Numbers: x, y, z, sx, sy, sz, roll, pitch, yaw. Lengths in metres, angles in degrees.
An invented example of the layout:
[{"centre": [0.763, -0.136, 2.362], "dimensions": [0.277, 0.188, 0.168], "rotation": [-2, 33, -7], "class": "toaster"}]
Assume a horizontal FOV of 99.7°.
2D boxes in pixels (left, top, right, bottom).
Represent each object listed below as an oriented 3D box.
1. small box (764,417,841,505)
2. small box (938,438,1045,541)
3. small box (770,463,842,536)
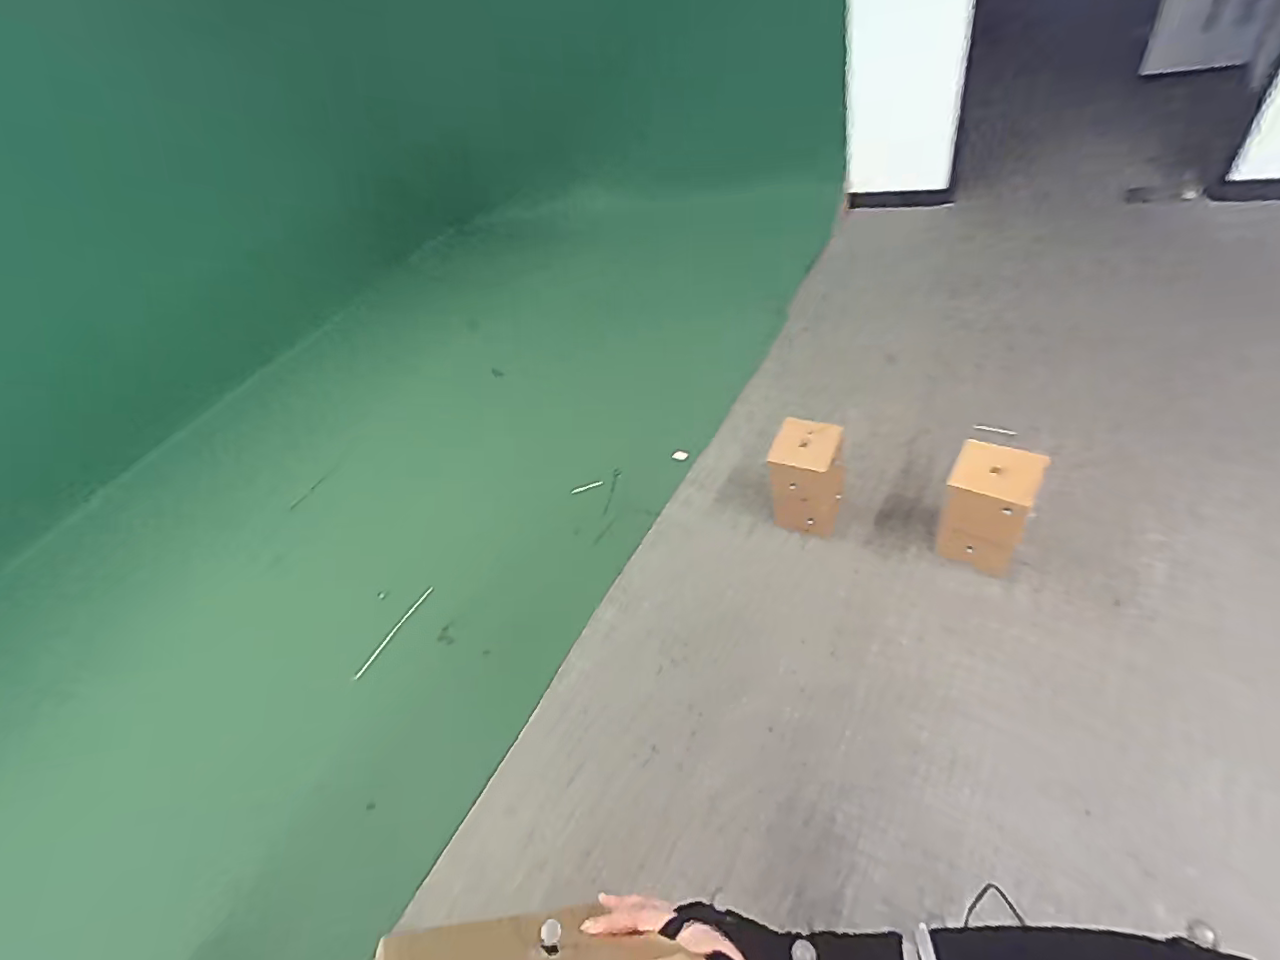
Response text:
[{"centre": [0.474, -0.053, 1.561], "dimensions": [0.168, 0.176, 0.179], "rotation": [15, 58, 29], "class": "small box"}, {"centre": [0.864, 0.027, 1.345], "dimensions": [0.179, 0.176, 0.168], "rotation": [21, 61, 33], "class": "small box"}, {"centre": [0.523, 0.048, 1.682], "dimensions": [0.168, 0.176, 0.179], "rotation": [16, 58, 30], "class": "small box"}]
